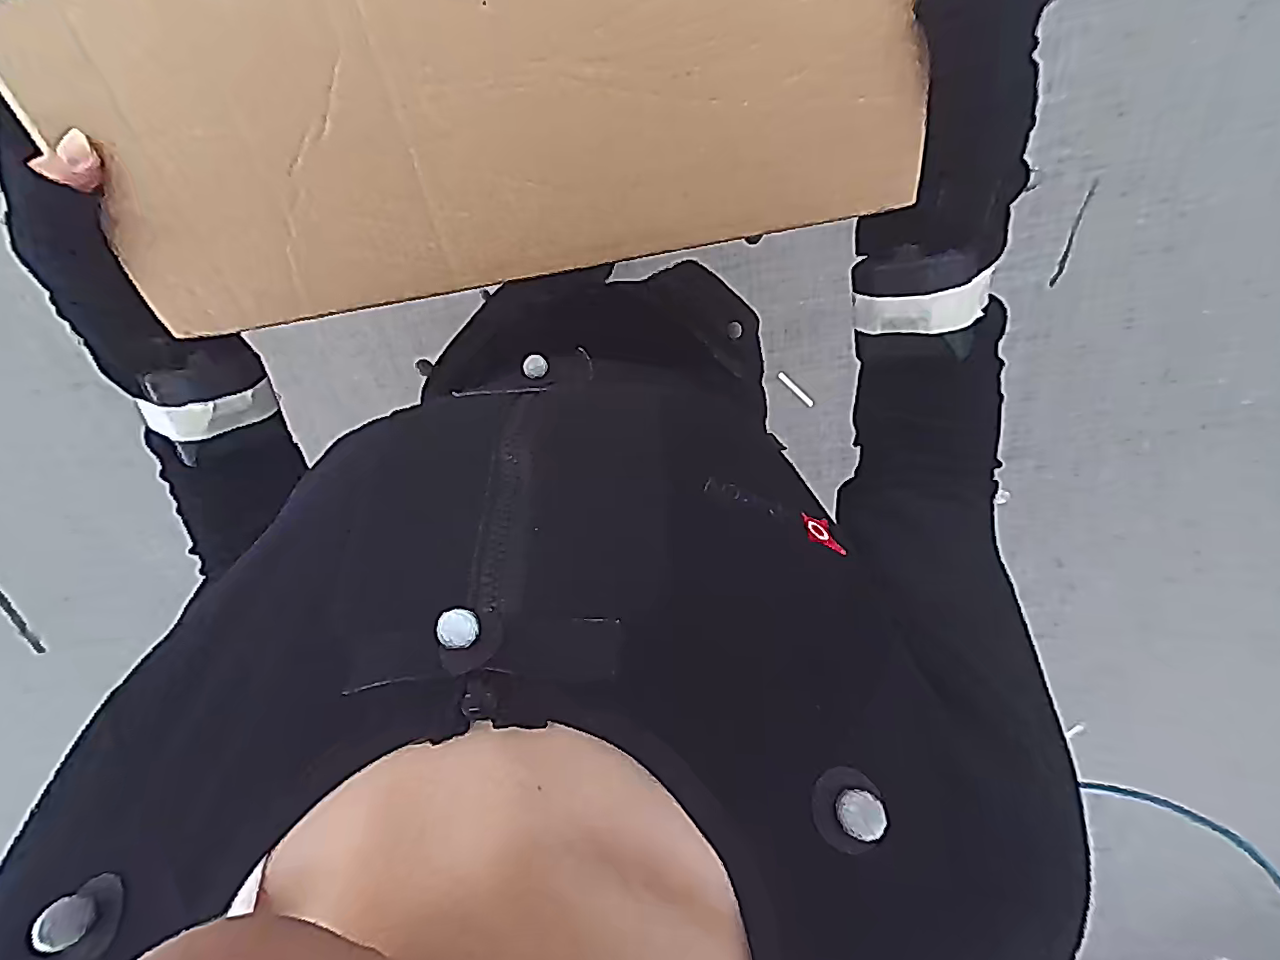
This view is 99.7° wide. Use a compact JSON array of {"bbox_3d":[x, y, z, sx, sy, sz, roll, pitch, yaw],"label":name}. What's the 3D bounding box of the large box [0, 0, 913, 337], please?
[{"bbox_3d":[-0.091,-0.323,0.330,0.408,0.320,0.320,-9,124,5],"label":"large box"}]
